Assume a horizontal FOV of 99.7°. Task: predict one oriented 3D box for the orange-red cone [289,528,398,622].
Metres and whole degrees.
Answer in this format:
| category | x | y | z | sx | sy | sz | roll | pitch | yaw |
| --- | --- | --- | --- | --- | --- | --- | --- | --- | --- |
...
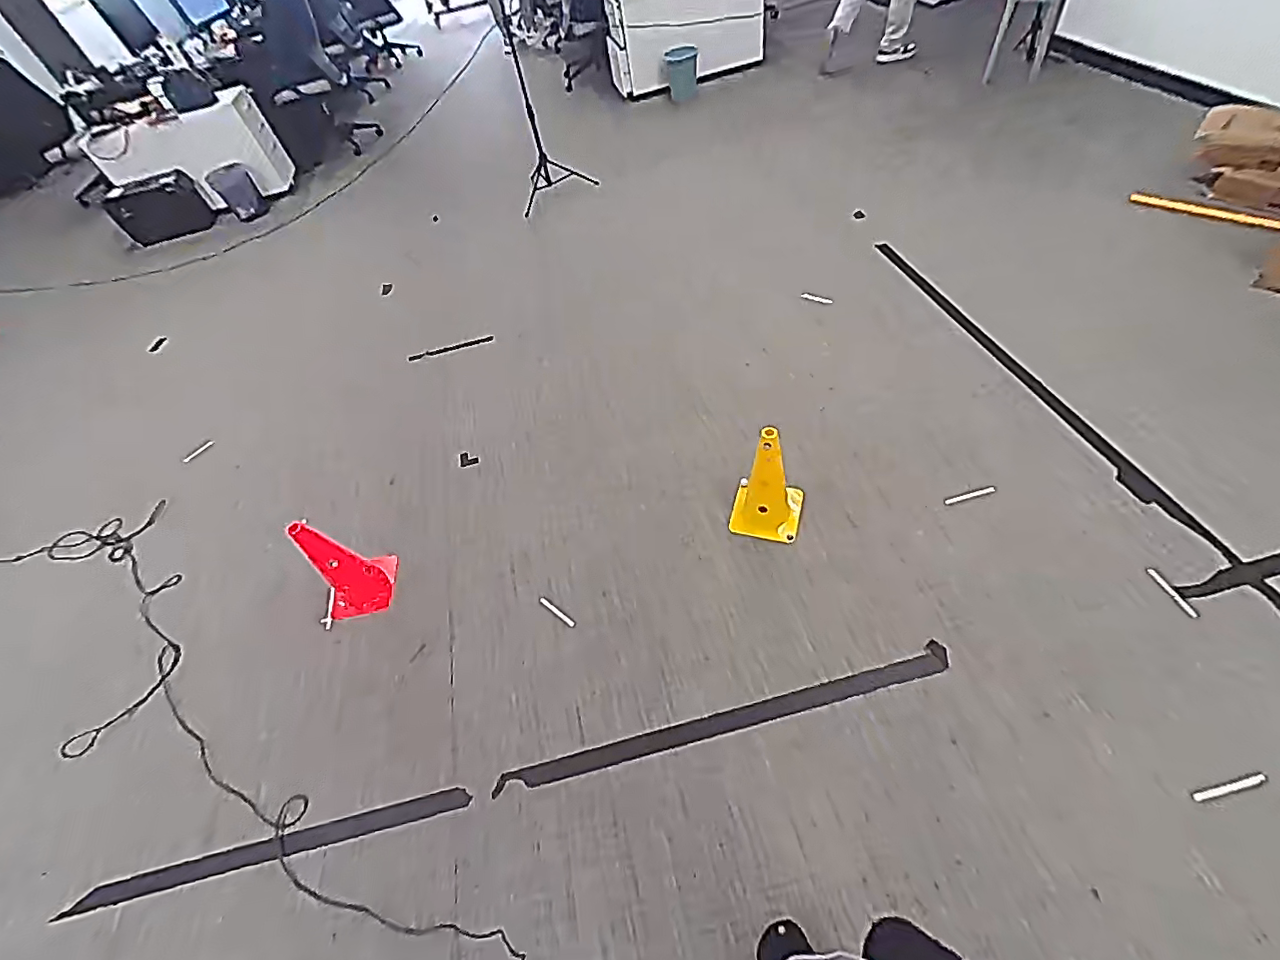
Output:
| category | x | y | z | sx | sy | sz | roll | pitch | yaw |
| --- | --- | --- | --- | --- | --- | --- | --- | --- | --- |
| orange-red cone | -0.909 | 0.251 | 1.606 | 0.199 | 0.360 | 0.198 | -10 | 51 | 3 |
